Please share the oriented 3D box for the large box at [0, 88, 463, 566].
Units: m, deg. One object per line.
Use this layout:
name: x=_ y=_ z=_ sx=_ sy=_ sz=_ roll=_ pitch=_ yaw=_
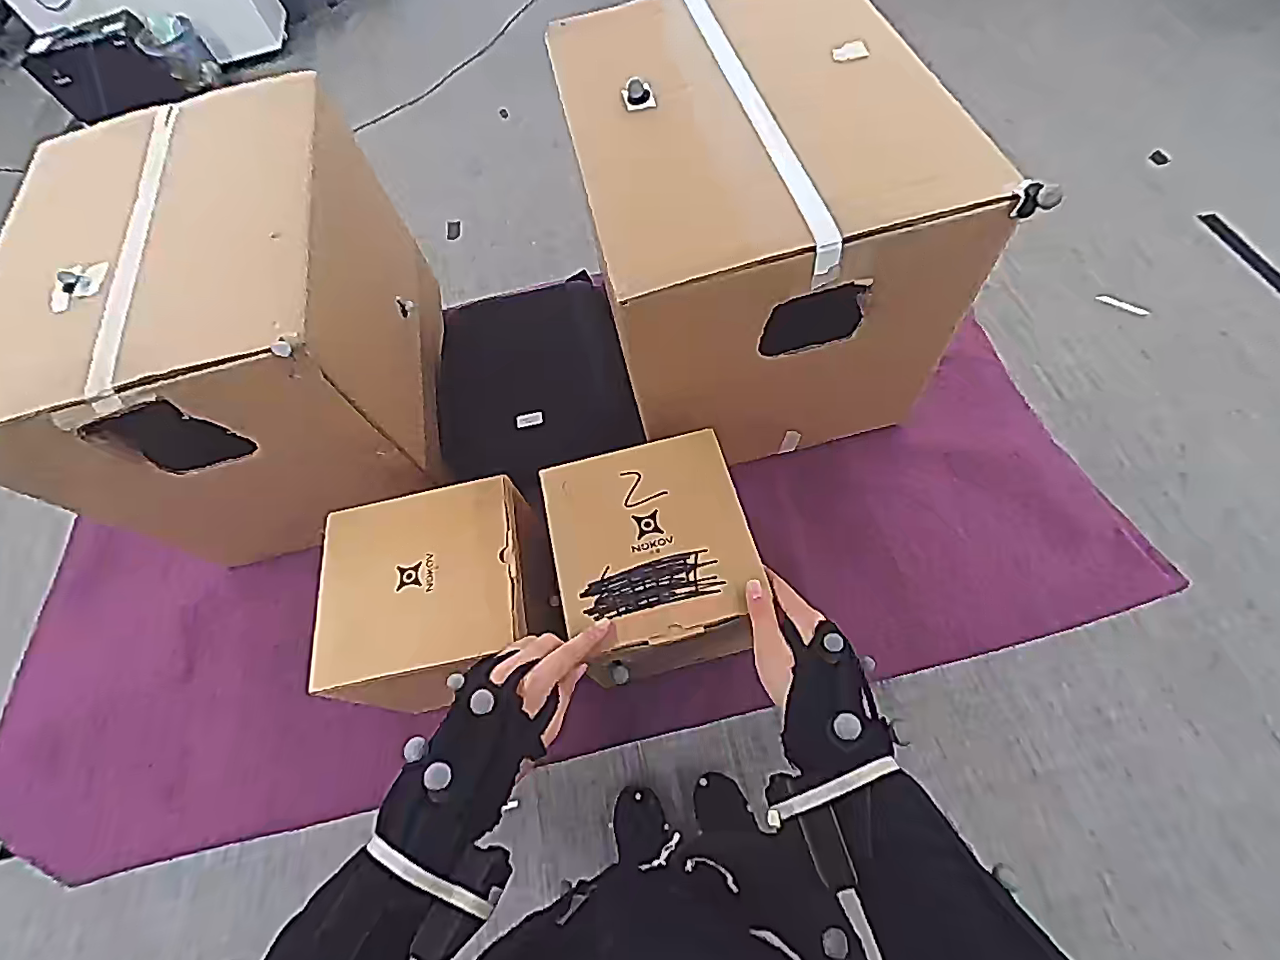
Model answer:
large box: x=-0.435 y=-0.161 z=0.643 sx=0.320 sy=0.320 sz=0.408 roll=-17 pitch=64 yaw=0
